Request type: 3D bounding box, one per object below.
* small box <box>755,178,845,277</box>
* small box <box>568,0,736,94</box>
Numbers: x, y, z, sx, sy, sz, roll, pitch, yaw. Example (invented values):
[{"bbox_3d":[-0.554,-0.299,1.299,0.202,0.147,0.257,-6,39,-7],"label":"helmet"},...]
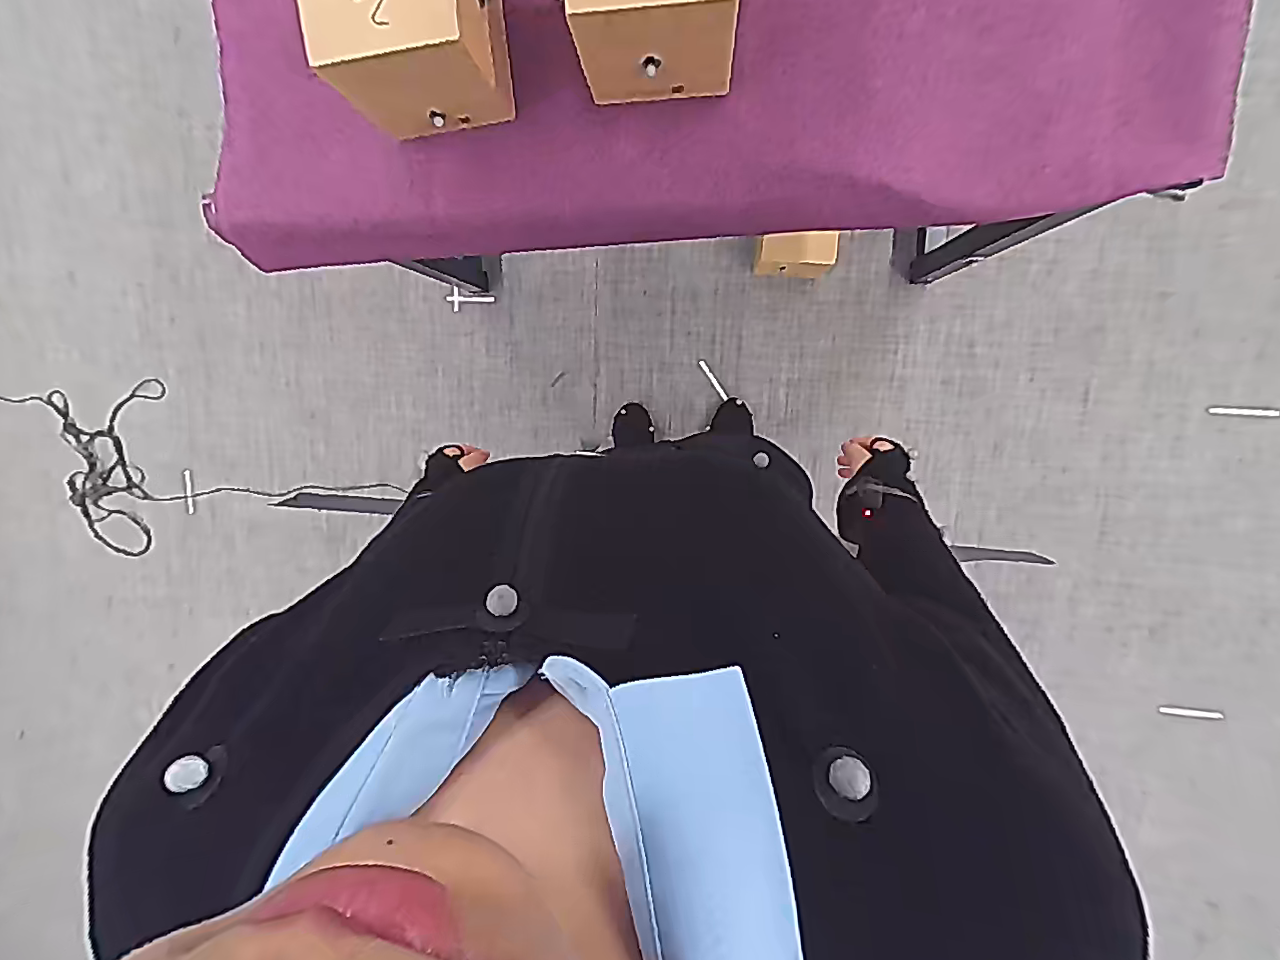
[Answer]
[{"bbox_3d":[0.368,-0.588,1.278,0.168,0.176,0.179,6,100,5],"label":"small box"},{"bbox_3d":[0.019,-0.544,0.575,0.168,0.176,0.179,0,99,5],"label":"small box"}]
